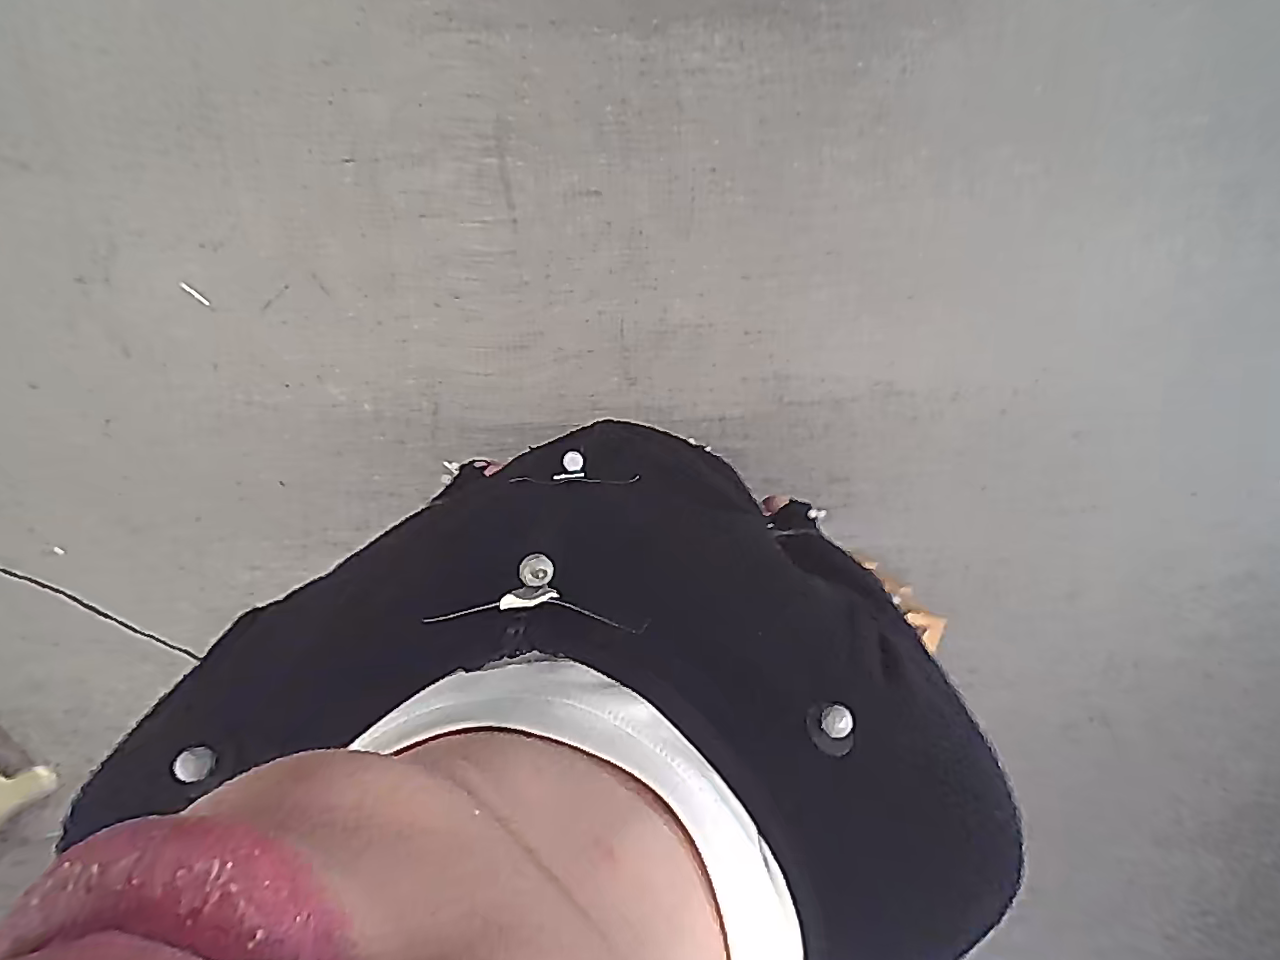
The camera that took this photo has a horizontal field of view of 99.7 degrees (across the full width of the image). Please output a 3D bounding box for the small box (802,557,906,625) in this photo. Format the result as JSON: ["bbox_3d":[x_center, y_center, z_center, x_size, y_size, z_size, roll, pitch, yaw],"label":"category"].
[{"bbox_3d":[0.527,0.301,1.358,0.179,0.176,0.168,10,97,-3],"label":"small box"}]

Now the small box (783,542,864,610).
[{"bbox_3d":[0.528,0.291,1.513,0.179,0.176,0.168,-25,98,0],"label":"small box"}]

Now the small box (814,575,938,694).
[{"bbox_3d":[0.508,0.329,1.194,0.168,0.176,0.179,21,96,-1],"label":"small box"}]
